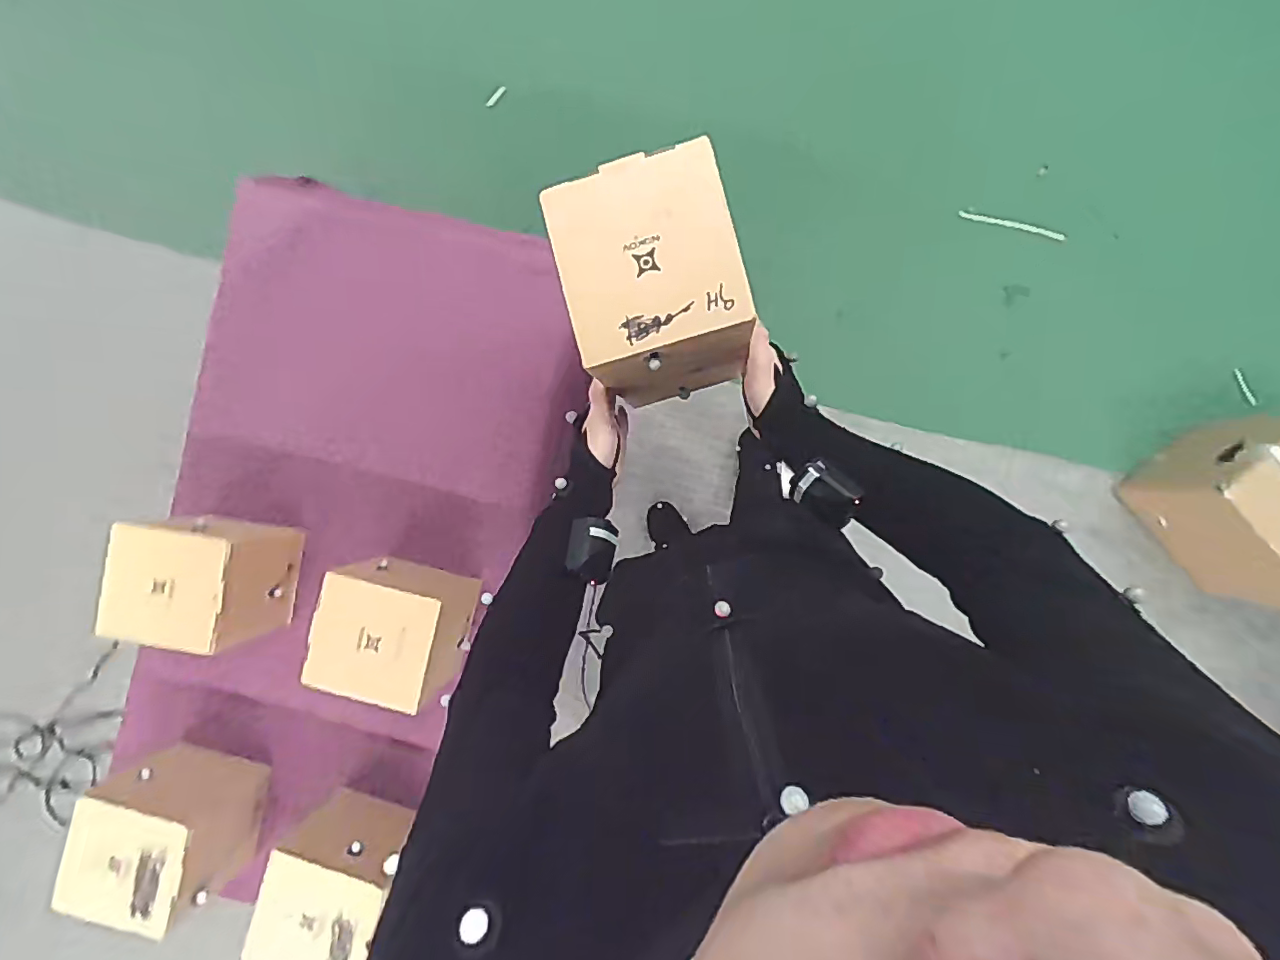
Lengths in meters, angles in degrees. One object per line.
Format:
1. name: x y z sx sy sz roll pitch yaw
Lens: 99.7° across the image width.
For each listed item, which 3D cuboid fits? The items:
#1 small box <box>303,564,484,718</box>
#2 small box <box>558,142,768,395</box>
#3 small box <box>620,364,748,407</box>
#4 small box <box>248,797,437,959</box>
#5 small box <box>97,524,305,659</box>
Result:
1. small box: -0.367 0.234 0.834 0.179 0.176 0.168 14 91 3
2. small box: 0.028 -0.204 0.573 0.168 0.176 0.179 -13 88 7
3. small box: 0.044 -0.211 0.736 0.168 0.176 0.179 -14 89 8
4. small box: -0.441 0.627 0.829 0.179 0.176 0.168 16 89 4
5. small box: -0.671 0.162 0.846 0.179 0.176 0.168 8 89 1
